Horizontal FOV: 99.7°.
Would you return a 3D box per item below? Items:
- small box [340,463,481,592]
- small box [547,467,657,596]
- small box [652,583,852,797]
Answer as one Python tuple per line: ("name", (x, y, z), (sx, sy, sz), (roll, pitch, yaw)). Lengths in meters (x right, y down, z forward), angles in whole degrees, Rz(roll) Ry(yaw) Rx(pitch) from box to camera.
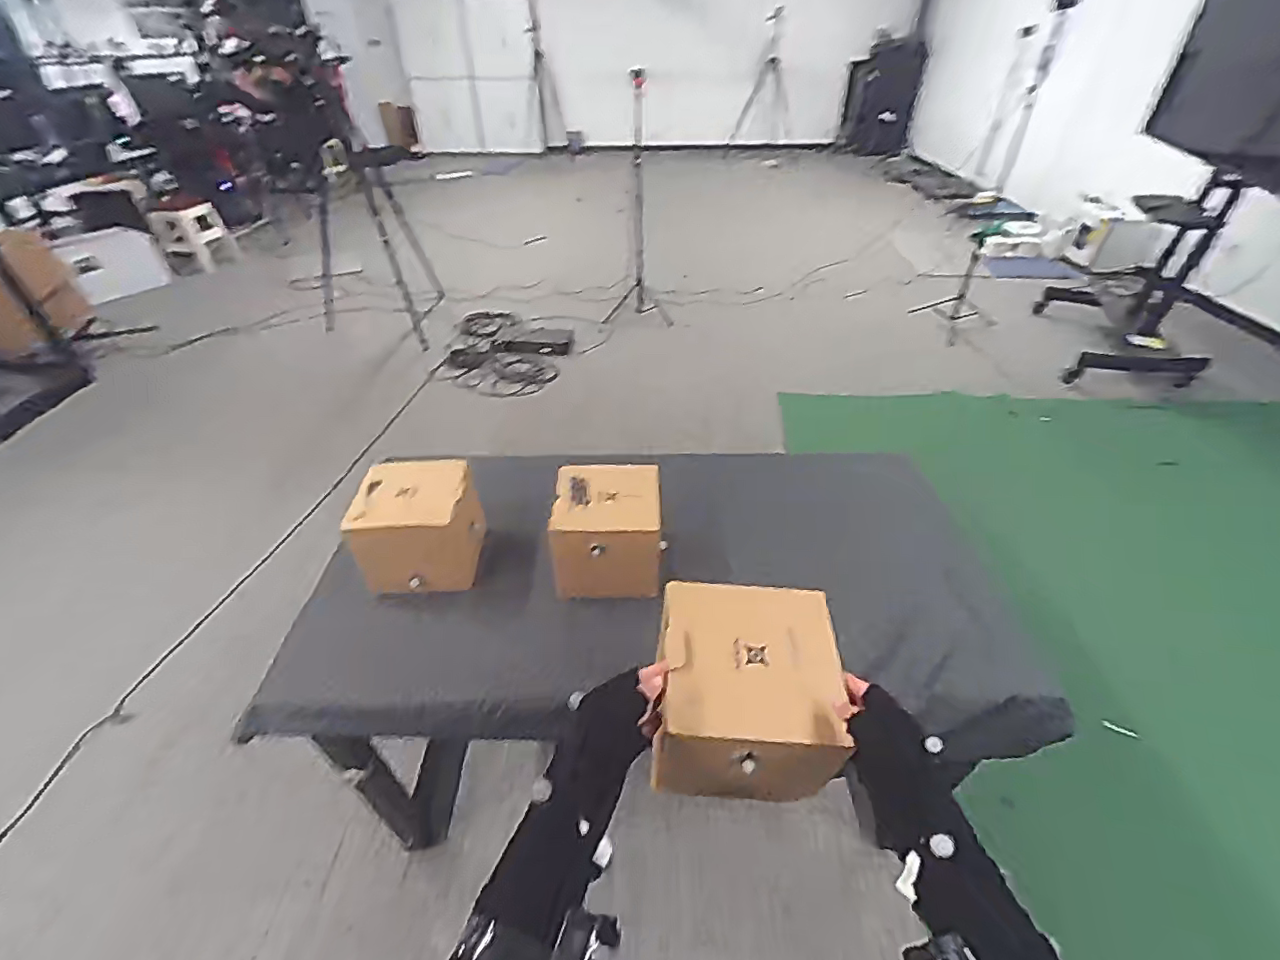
("small box", (-0.394, 0.086, 0.970), (0.179, 0.176, 0.168), (-1, 40, -3))
("small box", (-0.060, 0.092, 0.963), (0.179, 0.176, 0.168), (0, 40, -1))
("small box", (0.106, 0.234, 0.600), (0.179, 0.176, 0.168), (5, 44, -1))
